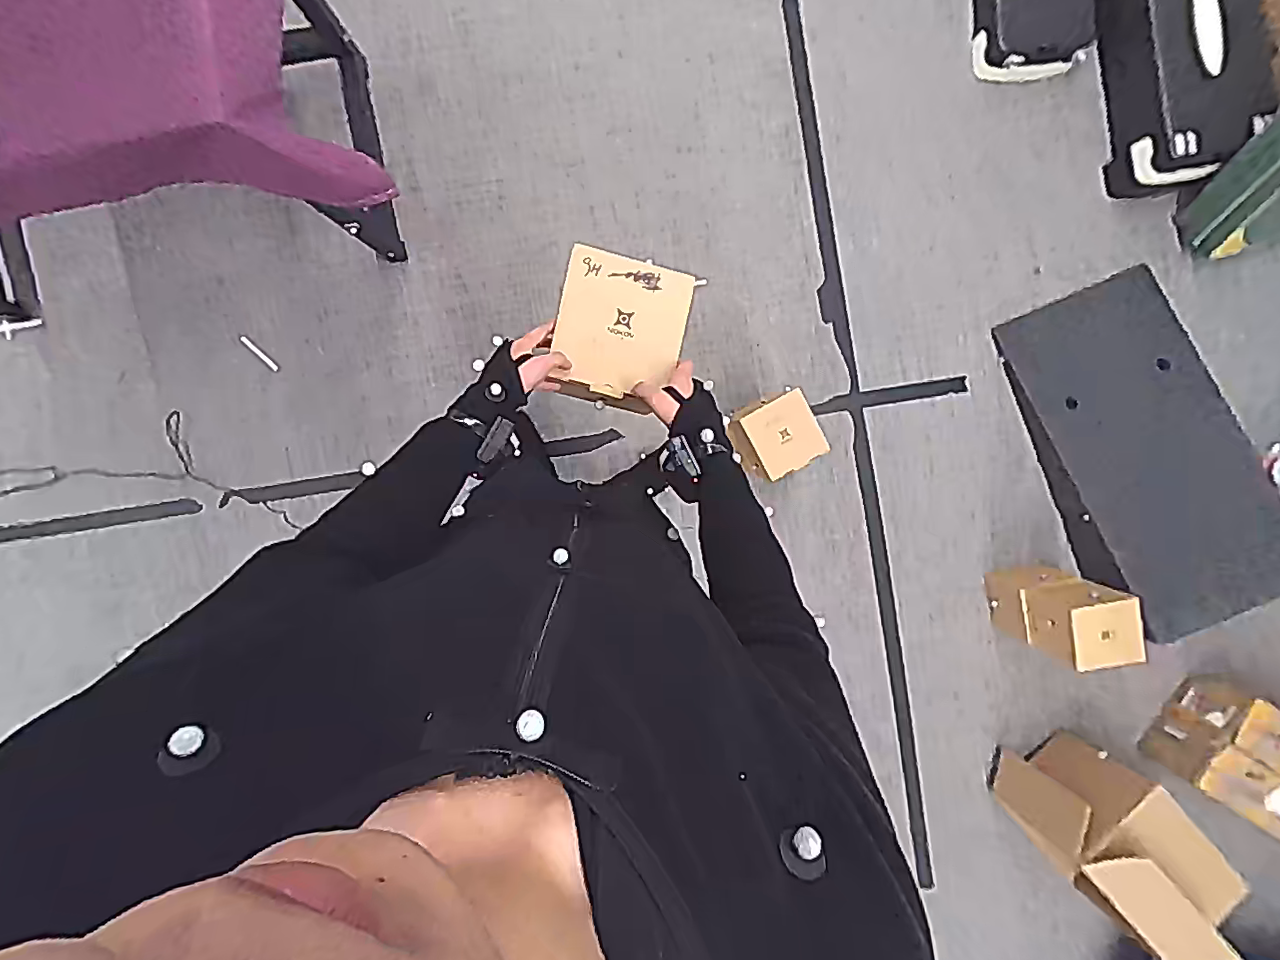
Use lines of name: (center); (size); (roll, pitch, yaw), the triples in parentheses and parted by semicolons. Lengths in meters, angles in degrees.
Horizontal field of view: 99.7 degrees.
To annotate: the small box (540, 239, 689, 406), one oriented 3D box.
small box: (-0.042, -0.210, 0.779); (0.168, 0.176, 0.179); (12, 92, -9)
